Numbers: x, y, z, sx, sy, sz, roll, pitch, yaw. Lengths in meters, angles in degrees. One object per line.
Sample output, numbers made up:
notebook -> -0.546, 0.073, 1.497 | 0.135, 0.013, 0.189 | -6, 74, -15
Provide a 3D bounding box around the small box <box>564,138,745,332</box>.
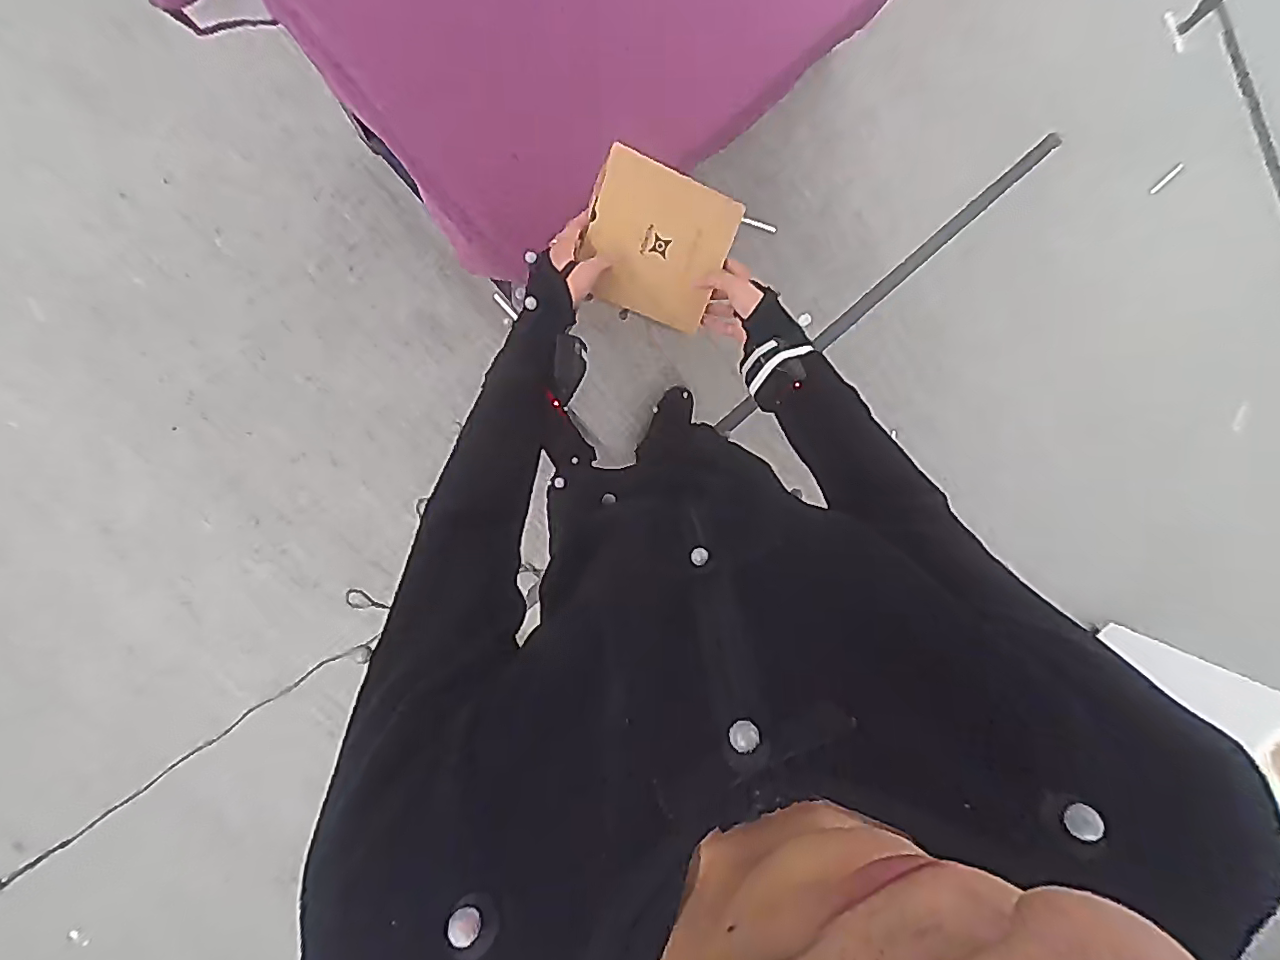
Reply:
small box -> 0.006, -0.311, 0.720 | 0.179, 0.176, 0.168 | 18, 106, -15
